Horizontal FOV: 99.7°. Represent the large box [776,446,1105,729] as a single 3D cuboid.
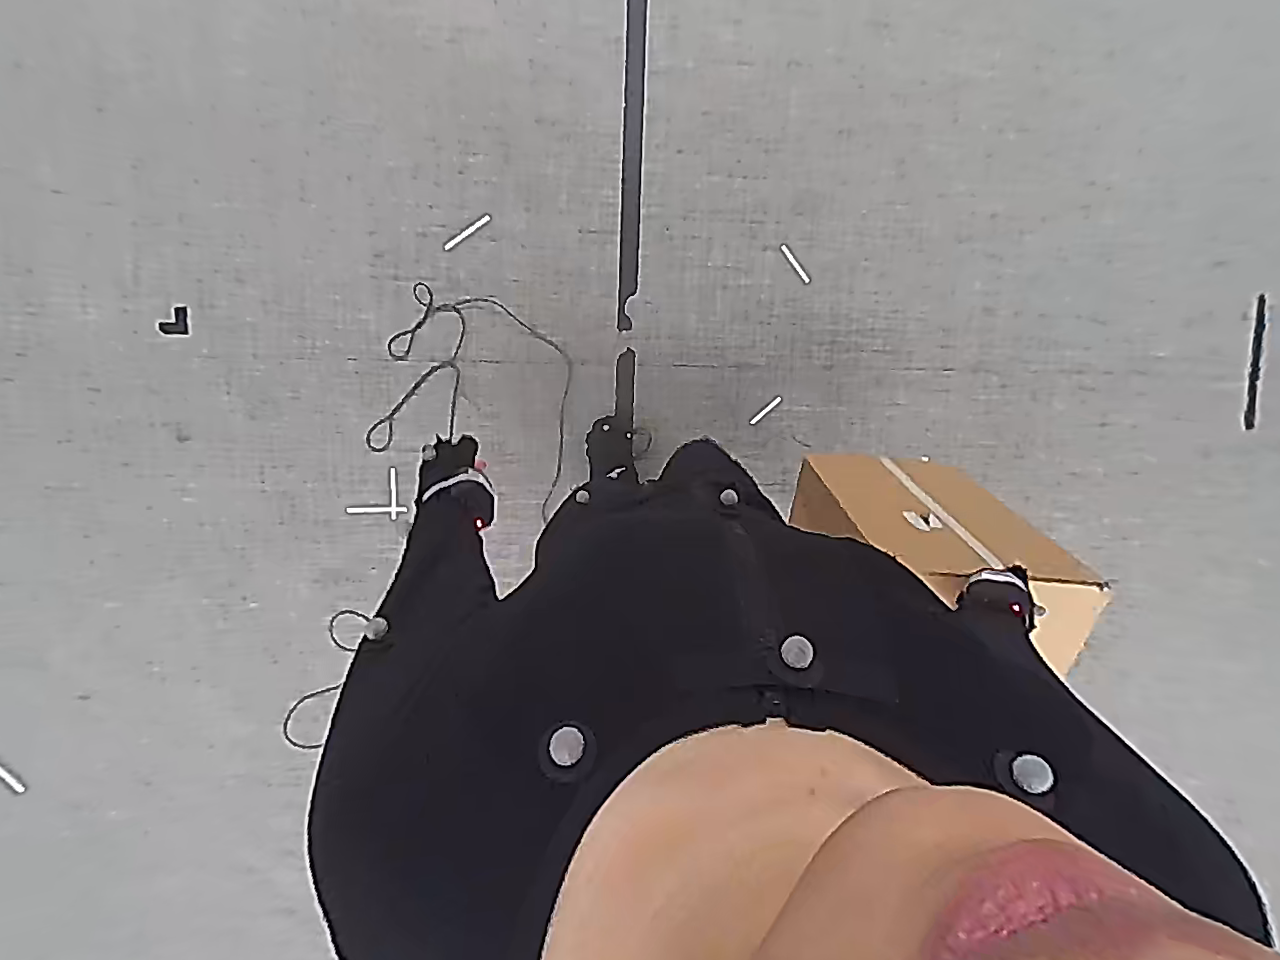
[{"bbox_3d":[0.471,0.171,0.977,0.320,0.408,0.320,4,118,-3],"label":"large box"}]
